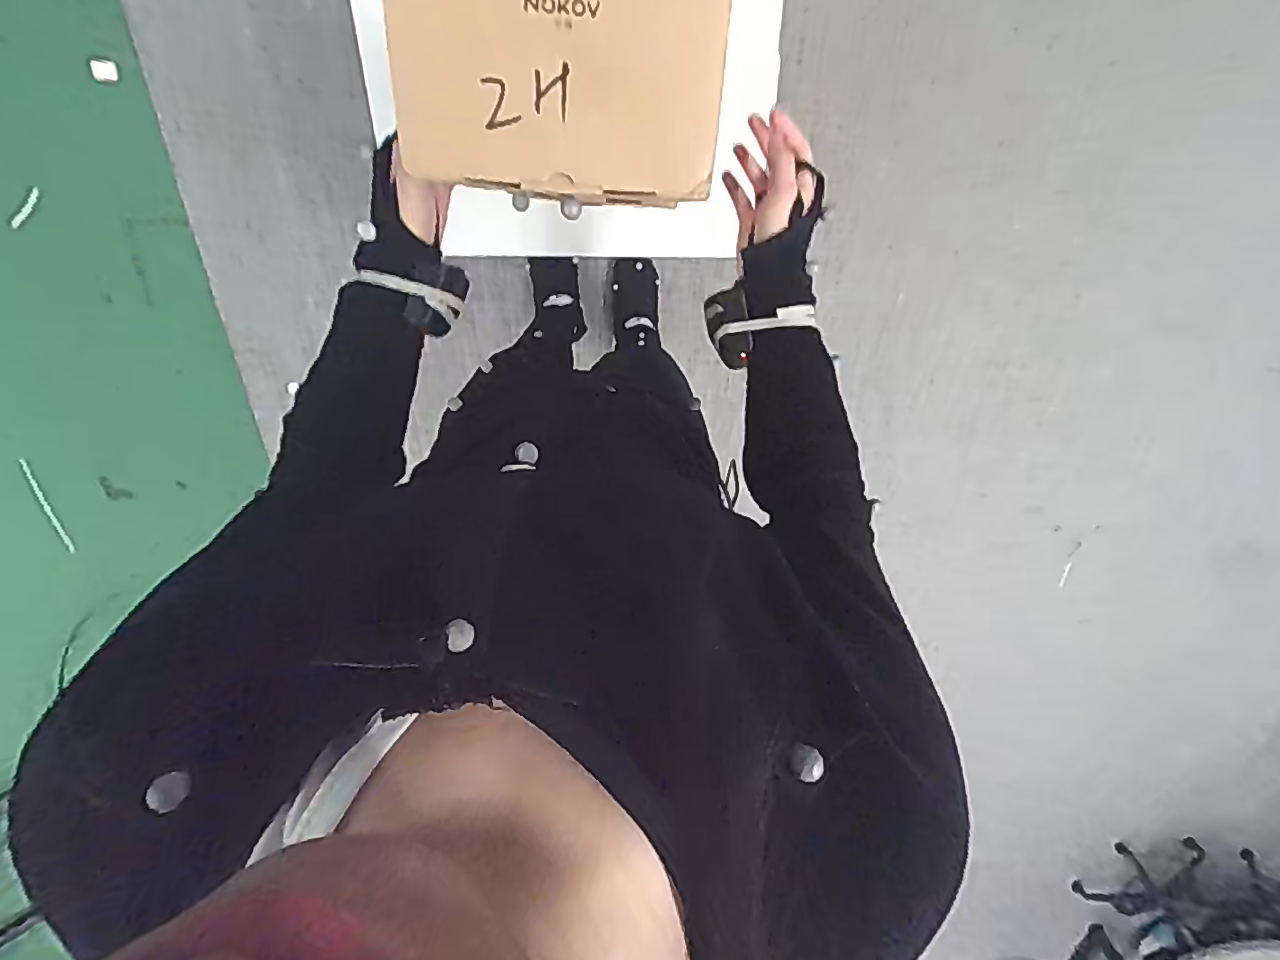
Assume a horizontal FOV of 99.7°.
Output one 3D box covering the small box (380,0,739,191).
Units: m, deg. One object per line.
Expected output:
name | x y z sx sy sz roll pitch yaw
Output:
small box | -0.040 -0.274 0.311 0.168 0.176 0.179 2 116 -4

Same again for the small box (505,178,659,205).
small box | -0.060 -0.415 0.608 0.168 0.176 0.179 2 116 -5
